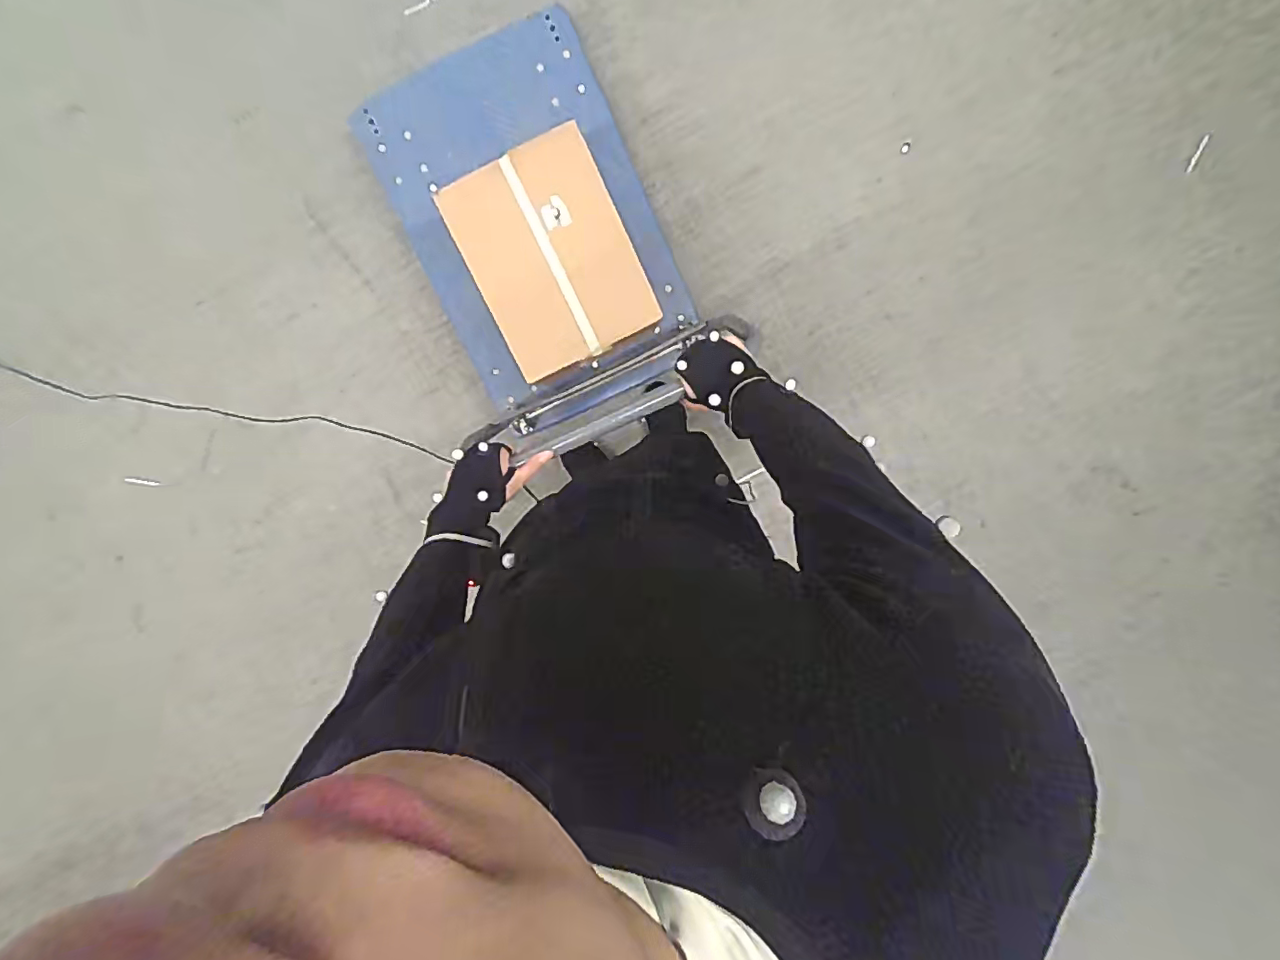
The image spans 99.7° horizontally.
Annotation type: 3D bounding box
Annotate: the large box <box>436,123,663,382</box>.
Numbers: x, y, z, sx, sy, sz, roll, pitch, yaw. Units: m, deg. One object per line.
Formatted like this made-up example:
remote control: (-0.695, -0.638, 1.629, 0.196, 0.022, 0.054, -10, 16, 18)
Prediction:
large box: (-0.175, -0.468, 1.215, 0.320, 0.320, 0.408, -25, 99, 3)
